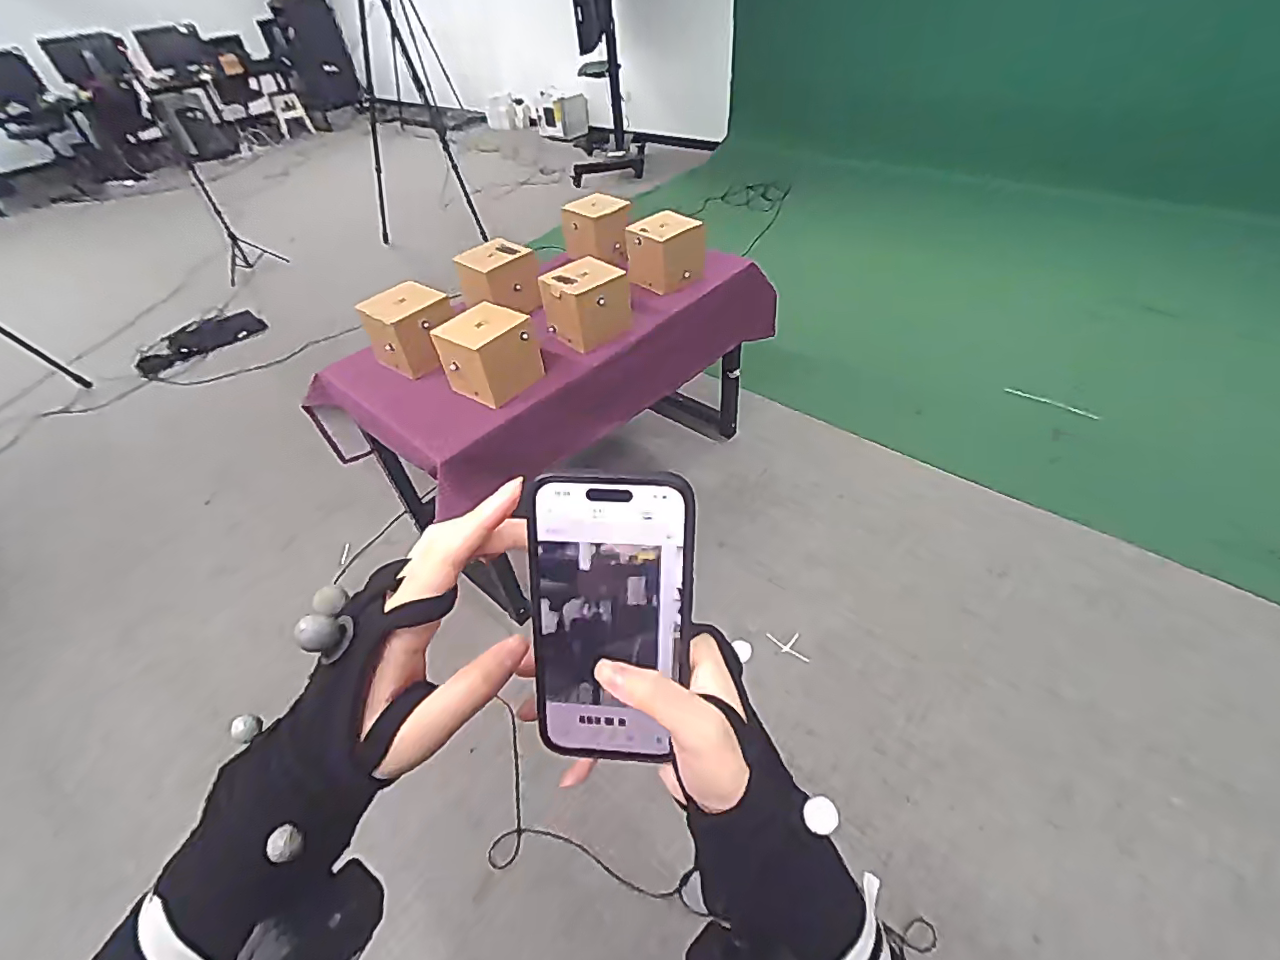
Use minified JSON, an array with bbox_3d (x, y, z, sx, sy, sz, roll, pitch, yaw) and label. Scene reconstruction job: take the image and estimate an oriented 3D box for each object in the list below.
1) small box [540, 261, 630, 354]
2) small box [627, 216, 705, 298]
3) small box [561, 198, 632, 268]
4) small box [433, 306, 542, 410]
[{"bbox_3d":[-0.142,-0.466,1.464,0.179,0.176,0.168,-34,51,-27],"label":"small box"},{"bbox_3d":[0.080,-0.686,1.664,0.179,0.176,0.168,-33,50,-25],"label":"small box"},{"bbox_3d":[-0.141,-0.832,1.832,0.168,0.176,0.179,-37,53,-27],"label":"small box"},{"bbox_3d":[-0.362,-0.297,1.318,0.168,0.176,0.179,25,51,28],"label":"small box"}]
